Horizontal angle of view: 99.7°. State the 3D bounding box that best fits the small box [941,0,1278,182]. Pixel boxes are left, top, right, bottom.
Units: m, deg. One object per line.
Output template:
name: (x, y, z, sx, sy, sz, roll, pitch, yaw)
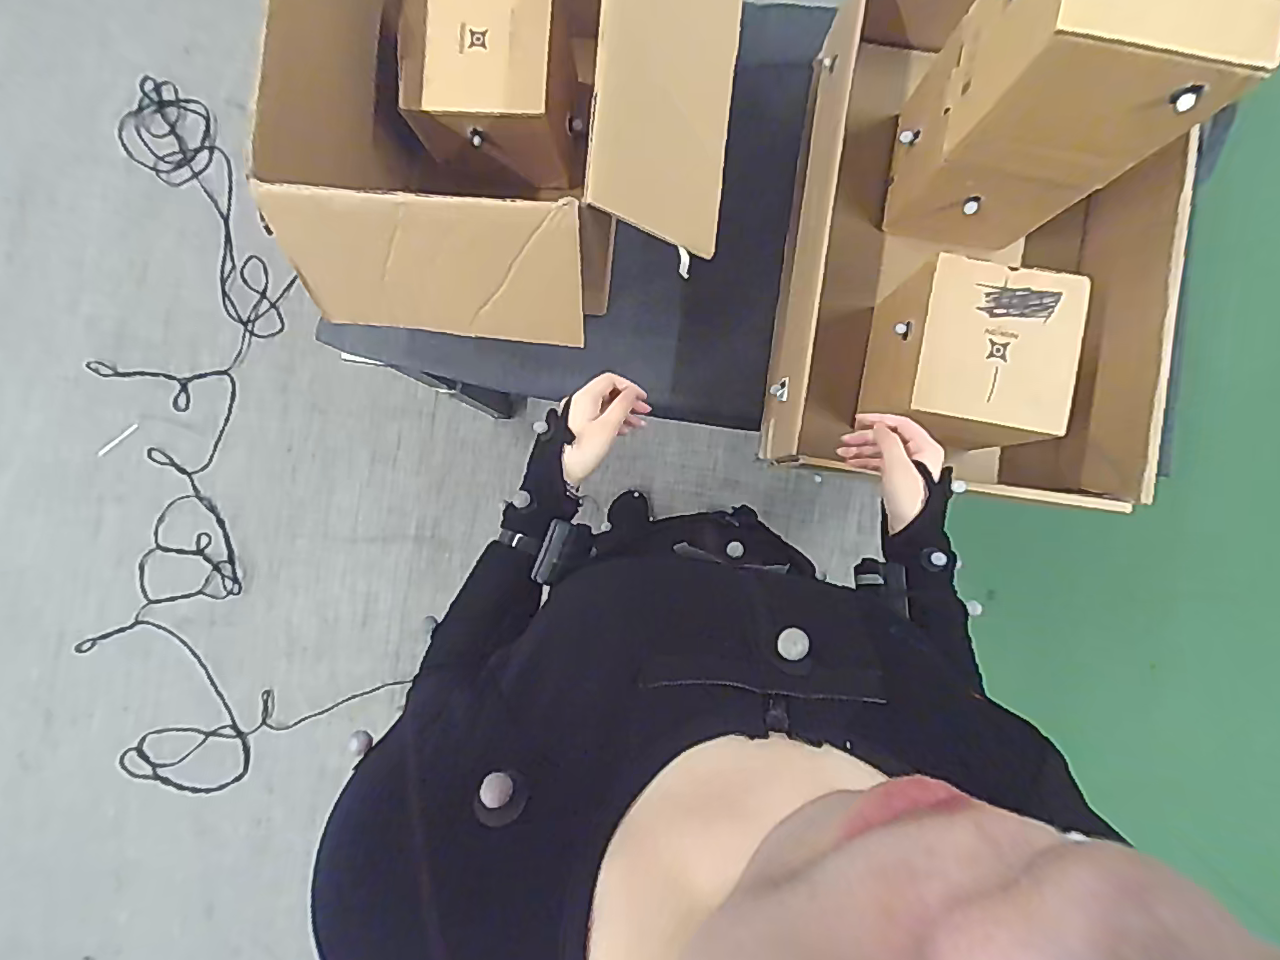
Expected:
small box: (0.416, -0.409, 0.501, 0.179, 0.176, 0.168, 11, 90, 0)
